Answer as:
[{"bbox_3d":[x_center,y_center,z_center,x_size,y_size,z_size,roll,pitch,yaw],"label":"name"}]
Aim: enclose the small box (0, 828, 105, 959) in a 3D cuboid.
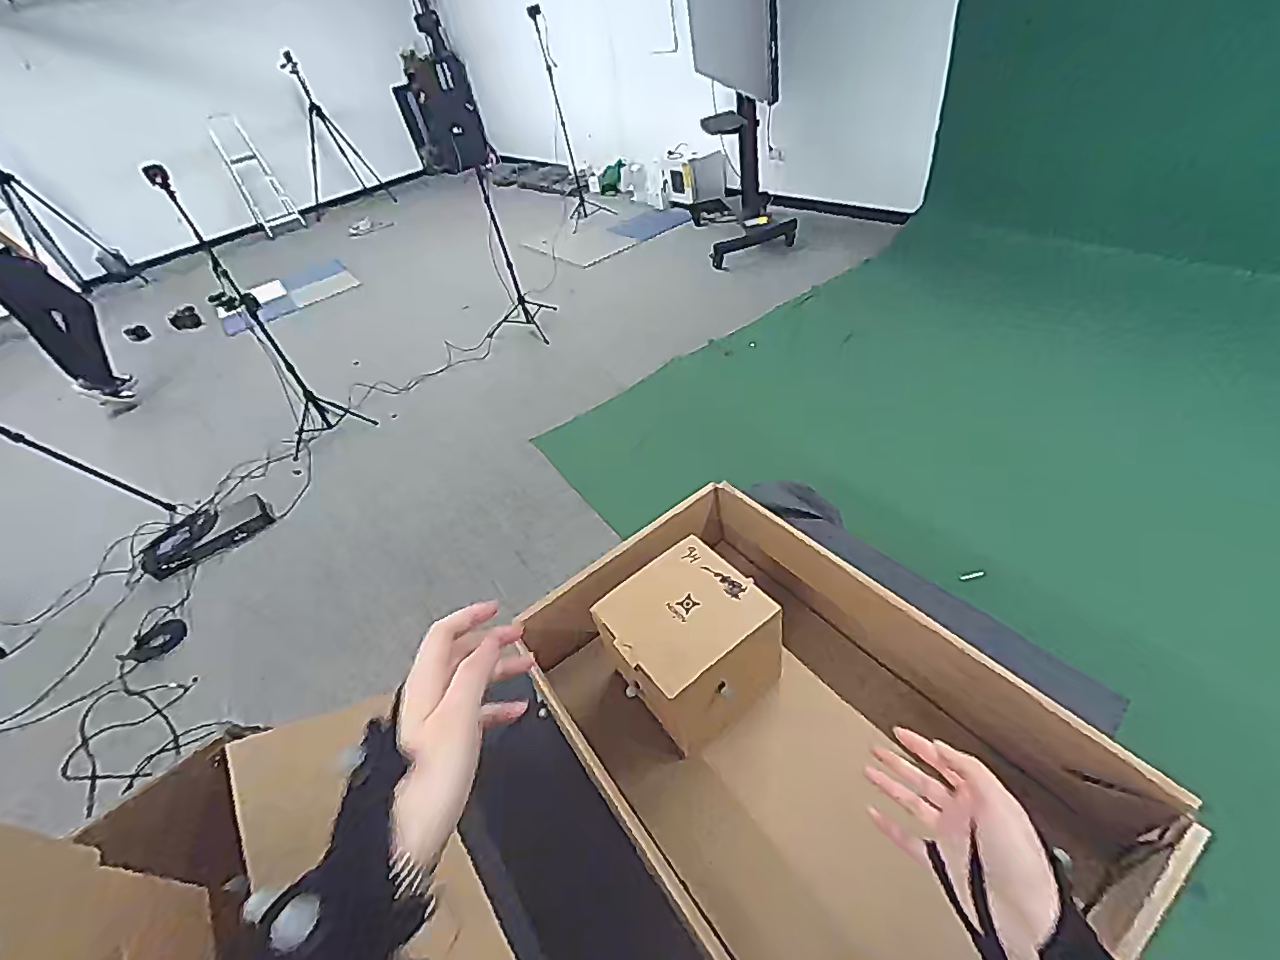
[{"bbox_3d":[-0.449,0.321,0.293,0.168,0.176,0.179,-34,49,-19],"label":"small box"}]
